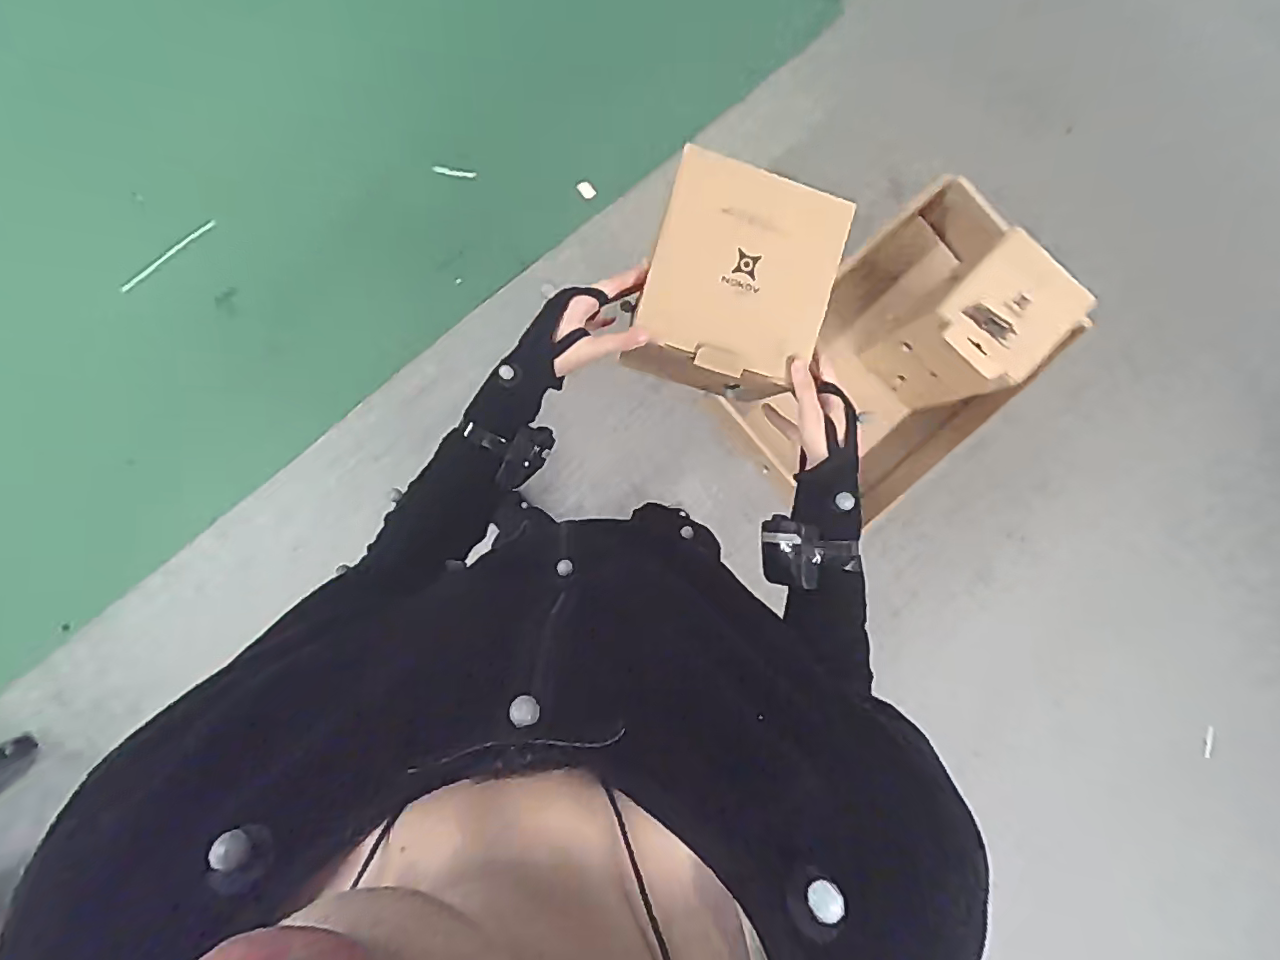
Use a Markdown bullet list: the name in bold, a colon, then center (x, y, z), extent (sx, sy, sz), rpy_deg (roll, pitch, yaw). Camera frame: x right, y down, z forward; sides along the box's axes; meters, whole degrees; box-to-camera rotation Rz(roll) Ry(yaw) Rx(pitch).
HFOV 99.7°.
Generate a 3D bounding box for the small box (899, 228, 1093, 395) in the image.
- **small box**: center (0.559, -0.259, 0.883), extent (0.168, 0.176, 0.179), rpy_deg (44, 90, -1)
